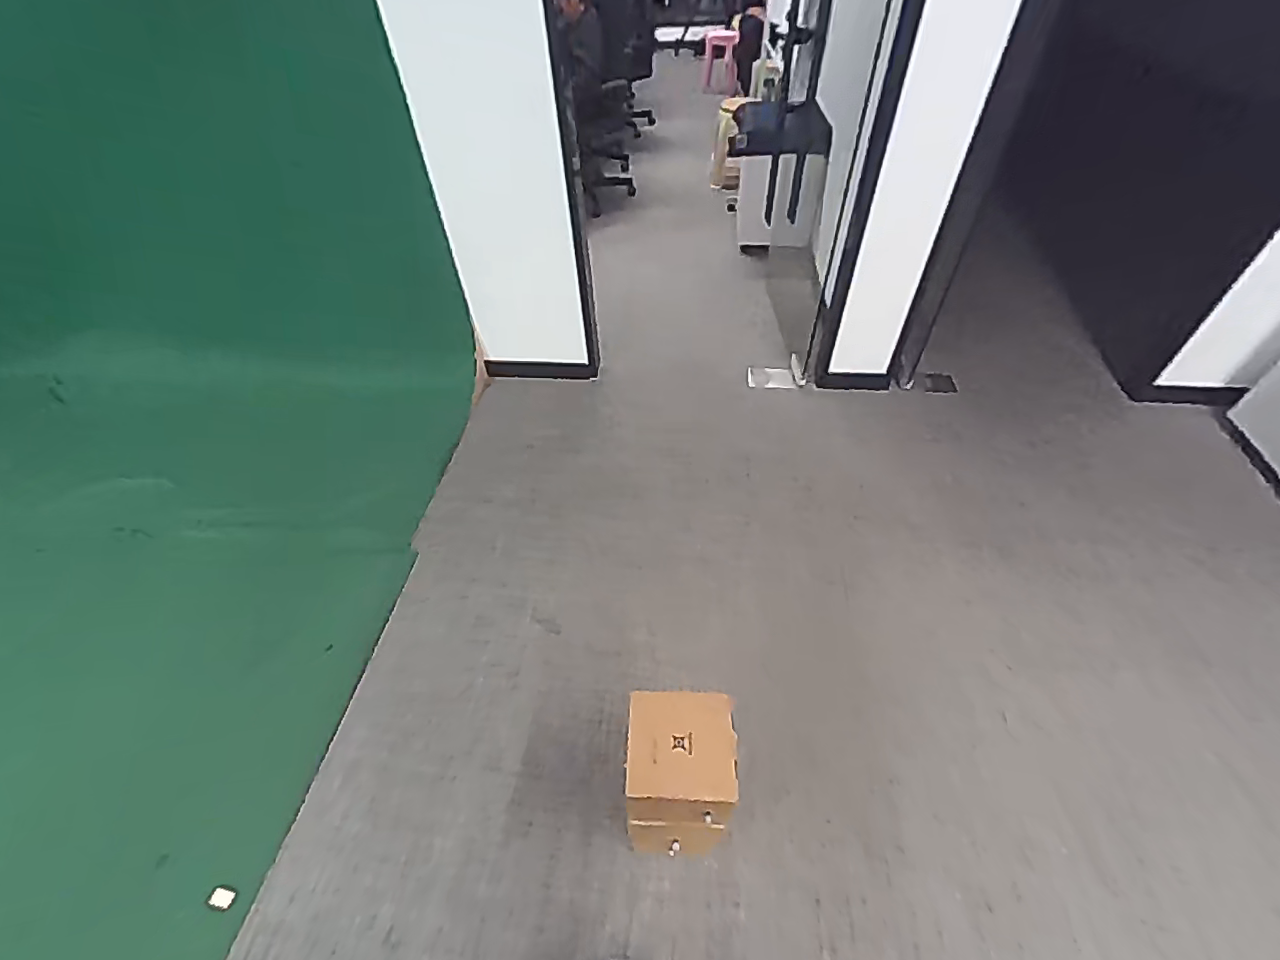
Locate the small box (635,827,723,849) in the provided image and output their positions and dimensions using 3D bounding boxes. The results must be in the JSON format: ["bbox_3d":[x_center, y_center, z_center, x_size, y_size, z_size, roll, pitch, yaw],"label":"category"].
[{"bbox_3d":[0.076,0.696,1.183,0.179,0.176,0.168,-3,48,-1],"label":"small box"}]

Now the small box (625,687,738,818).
[{"bbox_3d":[0.069,0.476,0.943,0.179,0.176,0.168,-1,47,3],"label":"small box"}]

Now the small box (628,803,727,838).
[{"bbox_3d":[0.070,0.589,1.060,0.179,0.176,0.168,1,48,3],"label":"small box"}]
